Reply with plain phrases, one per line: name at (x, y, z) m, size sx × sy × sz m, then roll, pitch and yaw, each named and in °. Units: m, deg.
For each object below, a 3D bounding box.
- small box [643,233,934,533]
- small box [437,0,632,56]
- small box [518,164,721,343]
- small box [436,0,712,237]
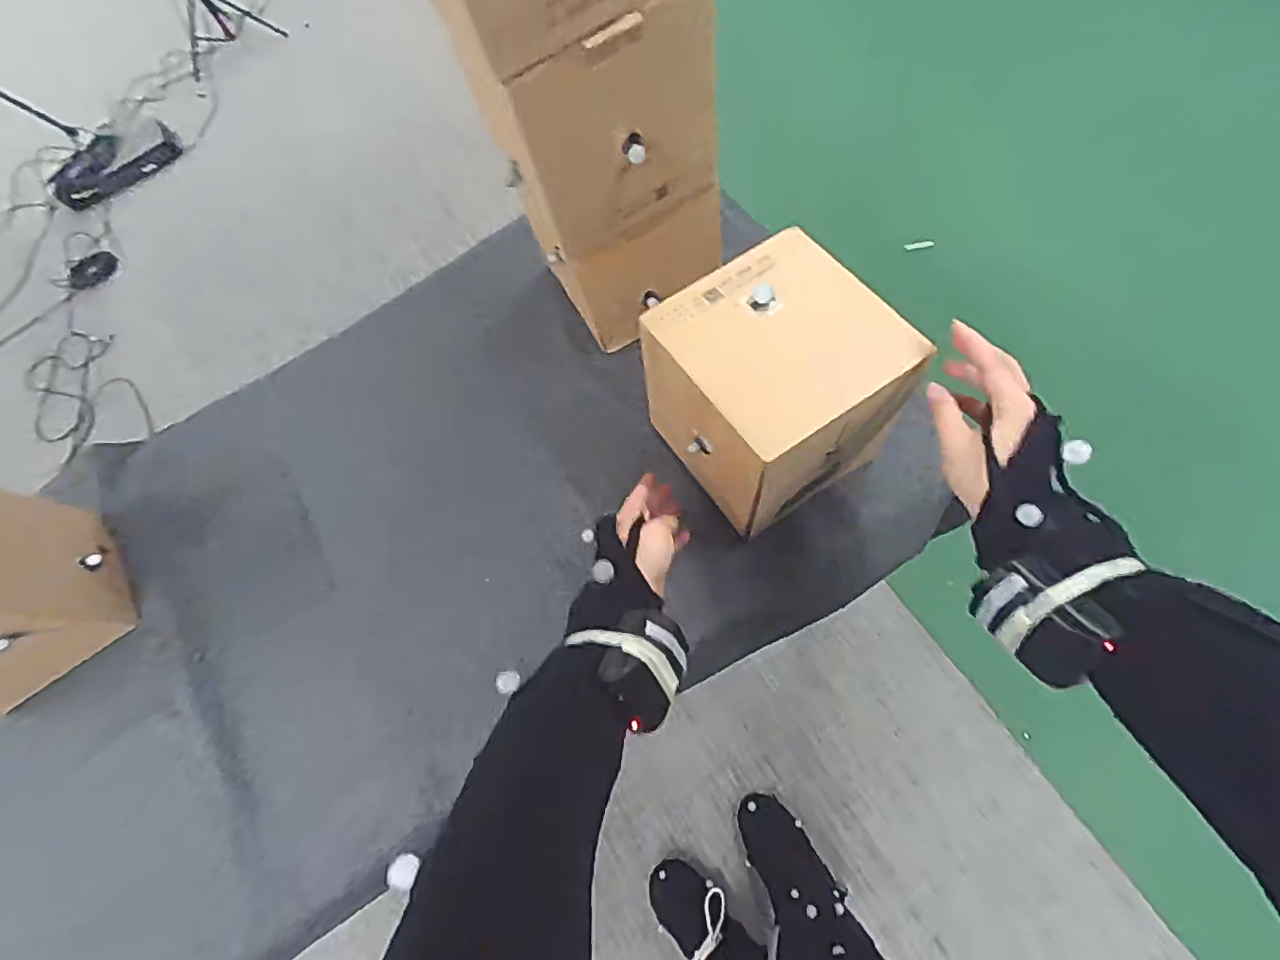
small box at (0.117, -0.084, 0.499) m, size 0.168 × 0.179 × 0.176 m, roll -33°, pitch 67°, yaw -9°
small box at (-0.077, -0.396, 0.313) m, size 0.168 × 0.176 × 0.179 m, roll -31°, pitch 69°, yaw -3°
small box at (-0.022, -0.295, 0.621) m, size 0.168 × 0.176 × 0.179 m, roll -30°, pitch 69°, yaw -2°
small box at (-0.046, -0.344, 0.467) m, size 0.168 × 0.176 × 0.179 m, roll -30°, pitch 70°, yaw -2°
